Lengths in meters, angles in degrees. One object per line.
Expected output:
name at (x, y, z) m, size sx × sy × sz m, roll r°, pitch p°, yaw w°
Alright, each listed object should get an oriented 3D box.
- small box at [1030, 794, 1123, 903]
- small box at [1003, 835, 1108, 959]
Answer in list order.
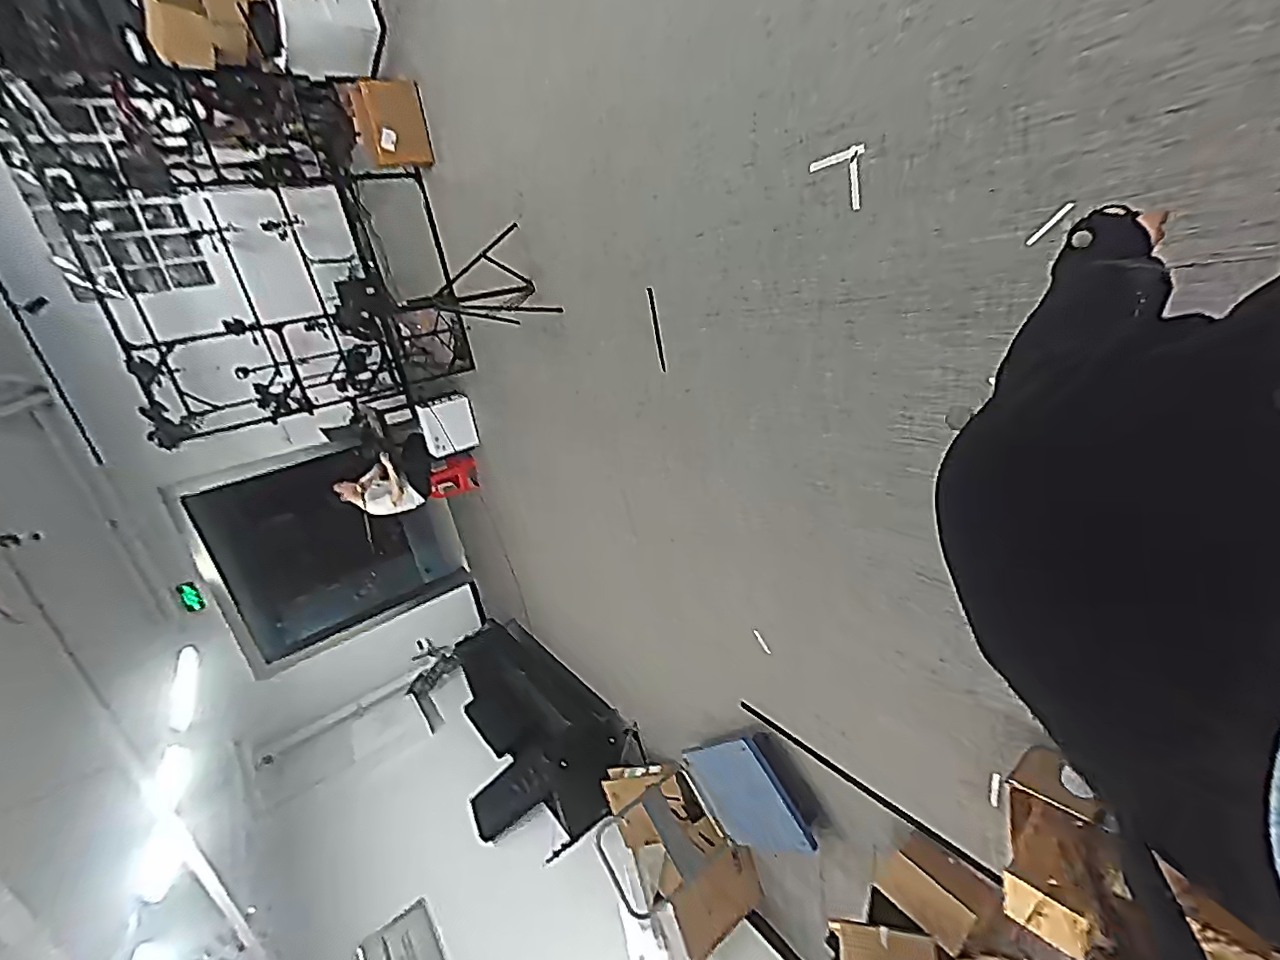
small box at (1.211, 1.027, 1.503) m, size 0.168 × 0.176 × 0.179 m, roll 13°, pitch 121°, yaw 54°
small box at (1.085, 1.081, 1.416) m, size 0.179 × 0.176 × 0.168 m, roll 11°, pitch 119°, yaw 53°
